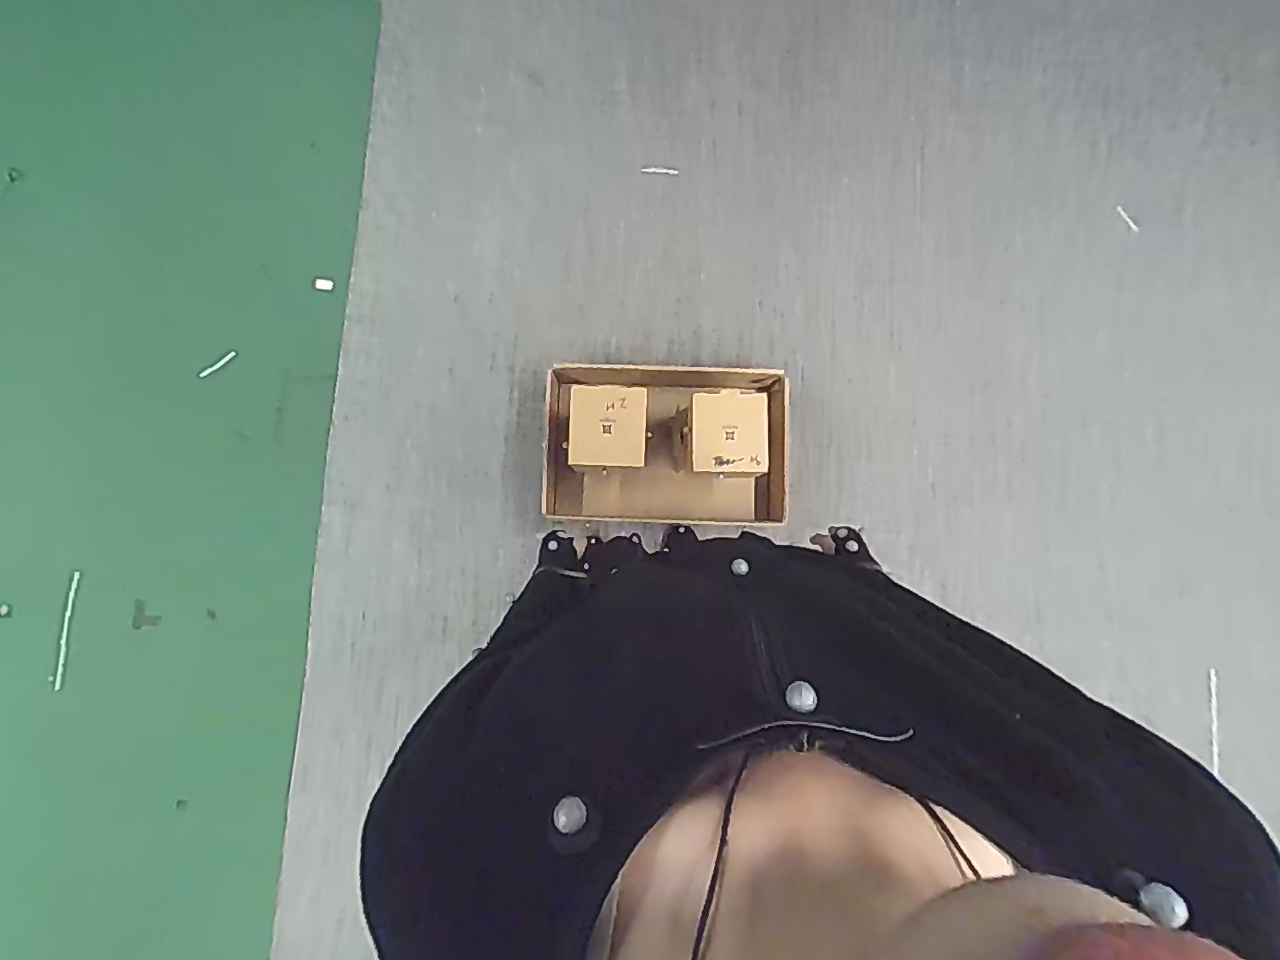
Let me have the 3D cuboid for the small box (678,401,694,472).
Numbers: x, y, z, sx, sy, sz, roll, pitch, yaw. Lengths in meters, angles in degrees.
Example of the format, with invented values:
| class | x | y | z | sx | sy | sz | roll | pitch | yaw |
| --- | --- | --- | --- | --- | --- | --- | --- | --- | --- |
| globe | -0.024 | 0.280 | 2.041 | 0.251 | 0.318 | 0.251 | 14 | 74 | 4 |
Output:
| class | x | y | z | sx | sy | sz | roll | pitch | yaw |
| --- | --- | --- | --- | --- | --- | --- | --- | --- | --- |
| small box | 0.191 | -0.111 | 1.408 | 0.179 | 0.176 | 0.168 | -2 | 87 | -2 |

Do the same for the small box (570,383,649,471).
| class | x | y | z | sx | sy | sz | roll | pitch | yaw |
| --- | --- | --- | --- | --- | --- | --- | --- | --- | --- |
| small box | -0.067 | -0.114 | 1.241 | 0.168 | 0.176 | 0.179 | 3 | 86 | -2 |

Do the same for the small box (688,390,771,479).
| class | x | y | z | sx | sy | sz | roll | pitch | yaw |
| --- | --- | --- | --- | --- | --- | --- | --- | --- | --- |
| small box | 0.199 | -0.100 | 1.244 | 0.168 | 0.176 | 0.179 | 1 | 85 | 0 |
